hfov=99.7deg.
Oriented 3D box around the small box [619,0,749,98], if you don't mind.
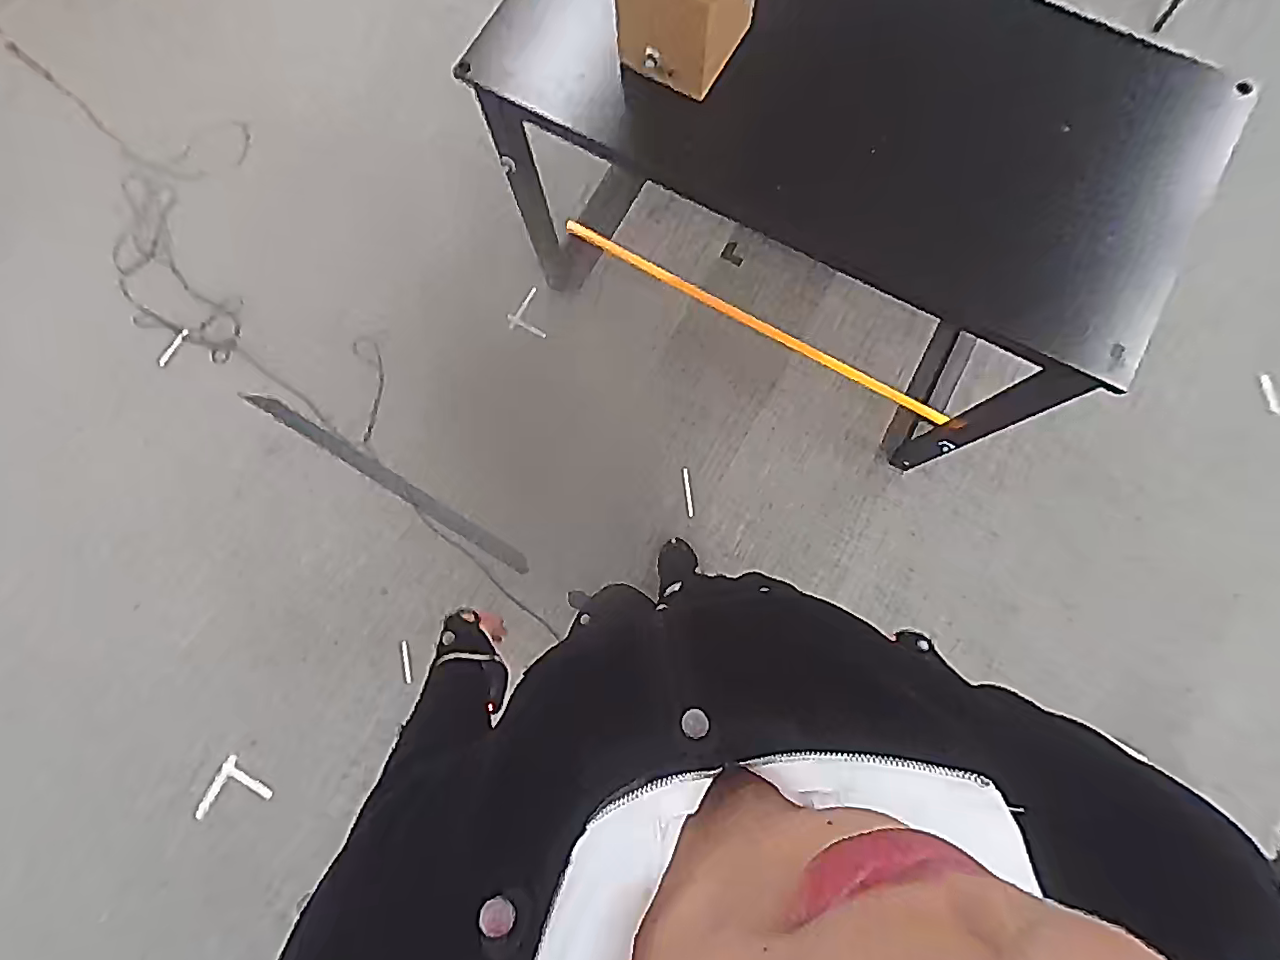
[{"bbox_3d":[0.071,-0.767,0.856,0.168,0.176,0.179,29,83,7],"label":"small box"}]
